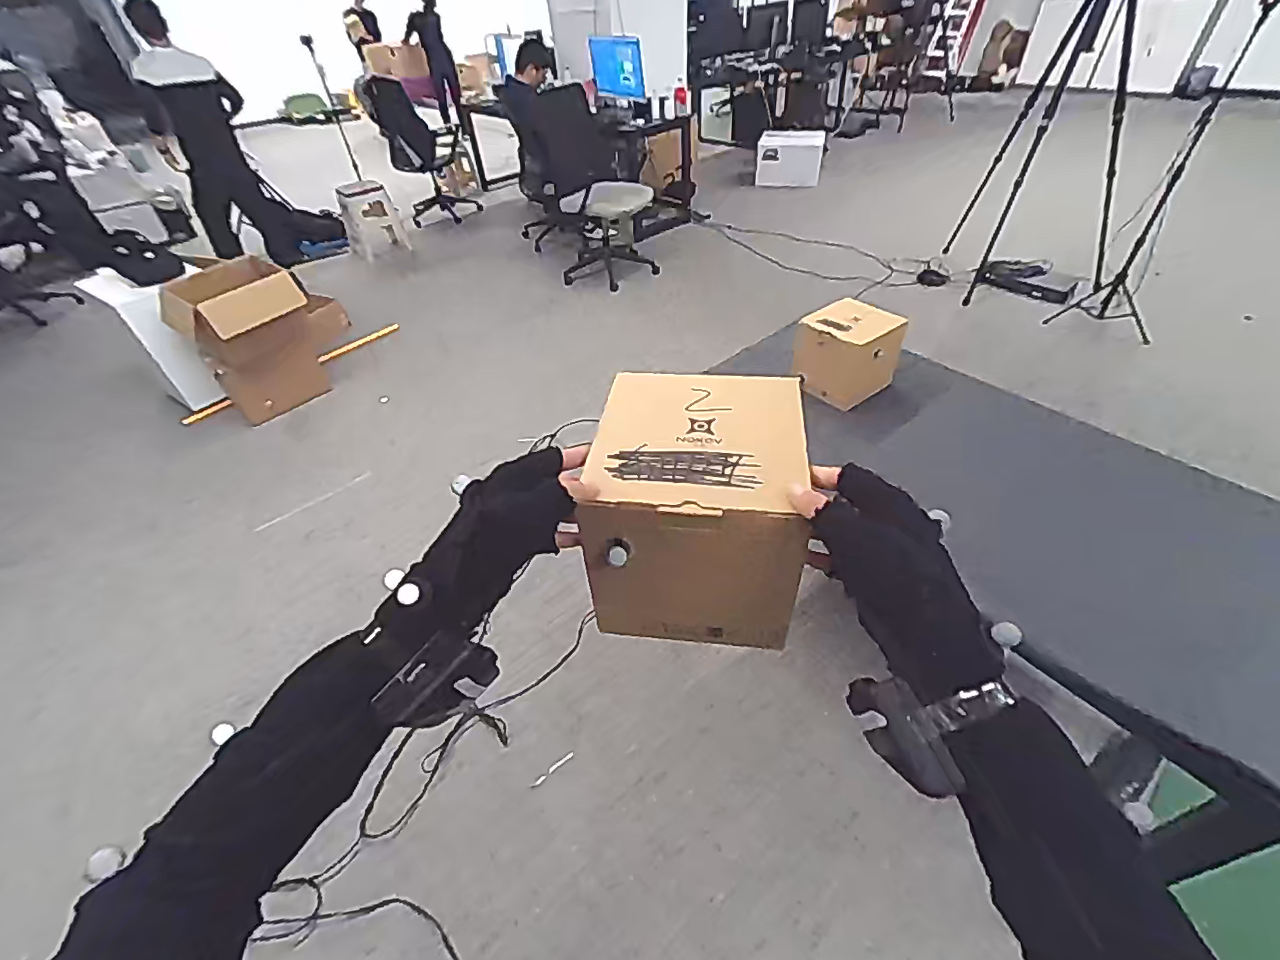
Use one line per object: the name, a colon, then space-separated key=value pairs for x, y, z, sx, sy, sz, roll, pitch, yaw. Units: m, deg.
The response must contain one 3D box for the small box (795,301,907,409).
small box: x=0.481 y=-0.290 z=1.261 sx=0.179 sy=0.176 sz=0.168 roll=-29 pitch=48 yaw=-25
